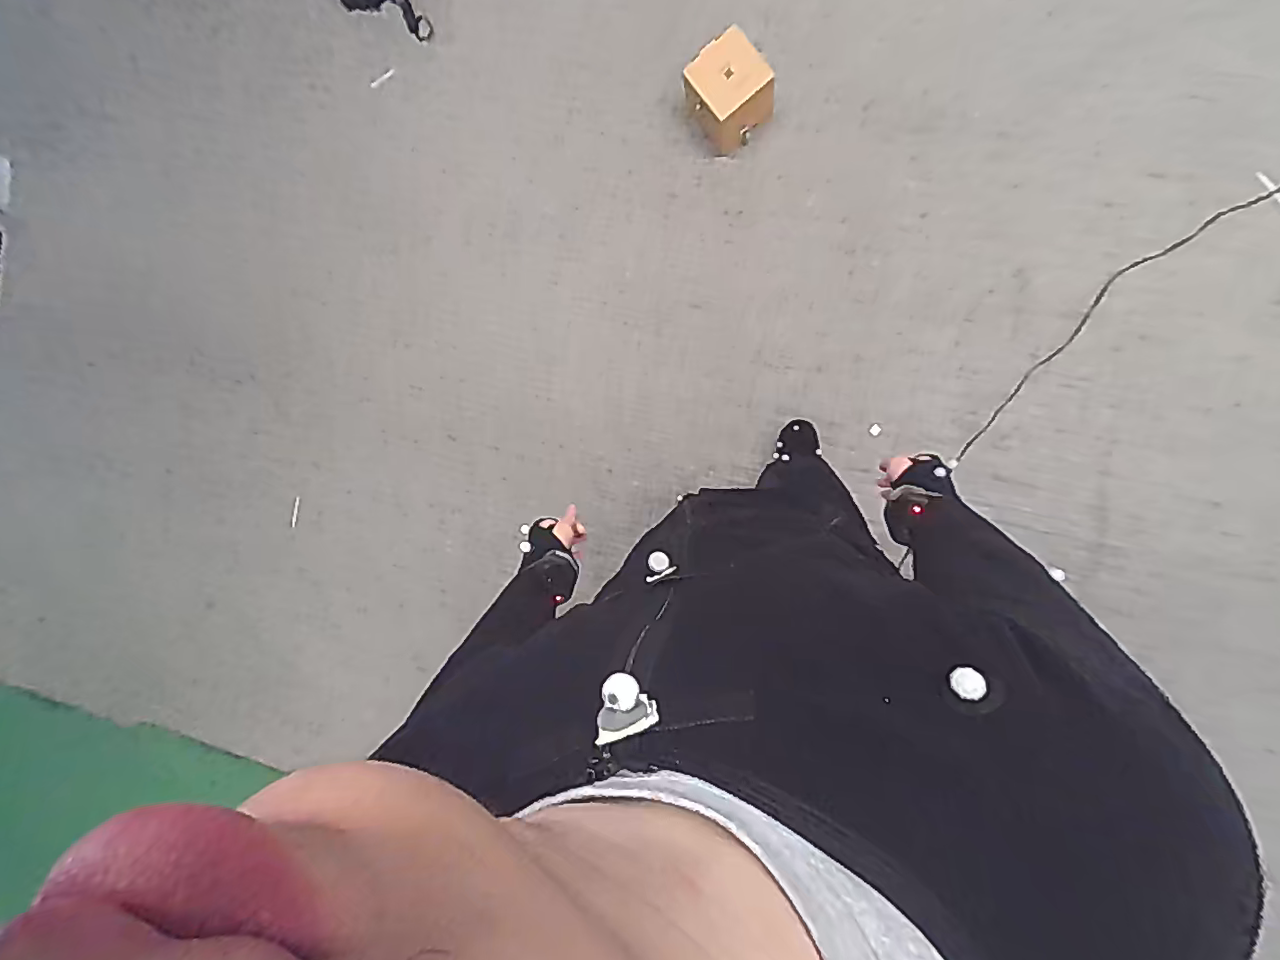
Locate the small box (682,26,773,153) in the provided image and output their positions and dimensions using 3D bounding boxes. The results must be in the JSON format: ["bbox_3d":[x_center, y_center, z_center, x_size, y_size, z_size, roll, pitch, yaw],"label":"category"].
[{"bbox_3d":[0.232,-1.019,1.430,0.168,0.176,0.179,-37,86,11],"label":"small box"}]
